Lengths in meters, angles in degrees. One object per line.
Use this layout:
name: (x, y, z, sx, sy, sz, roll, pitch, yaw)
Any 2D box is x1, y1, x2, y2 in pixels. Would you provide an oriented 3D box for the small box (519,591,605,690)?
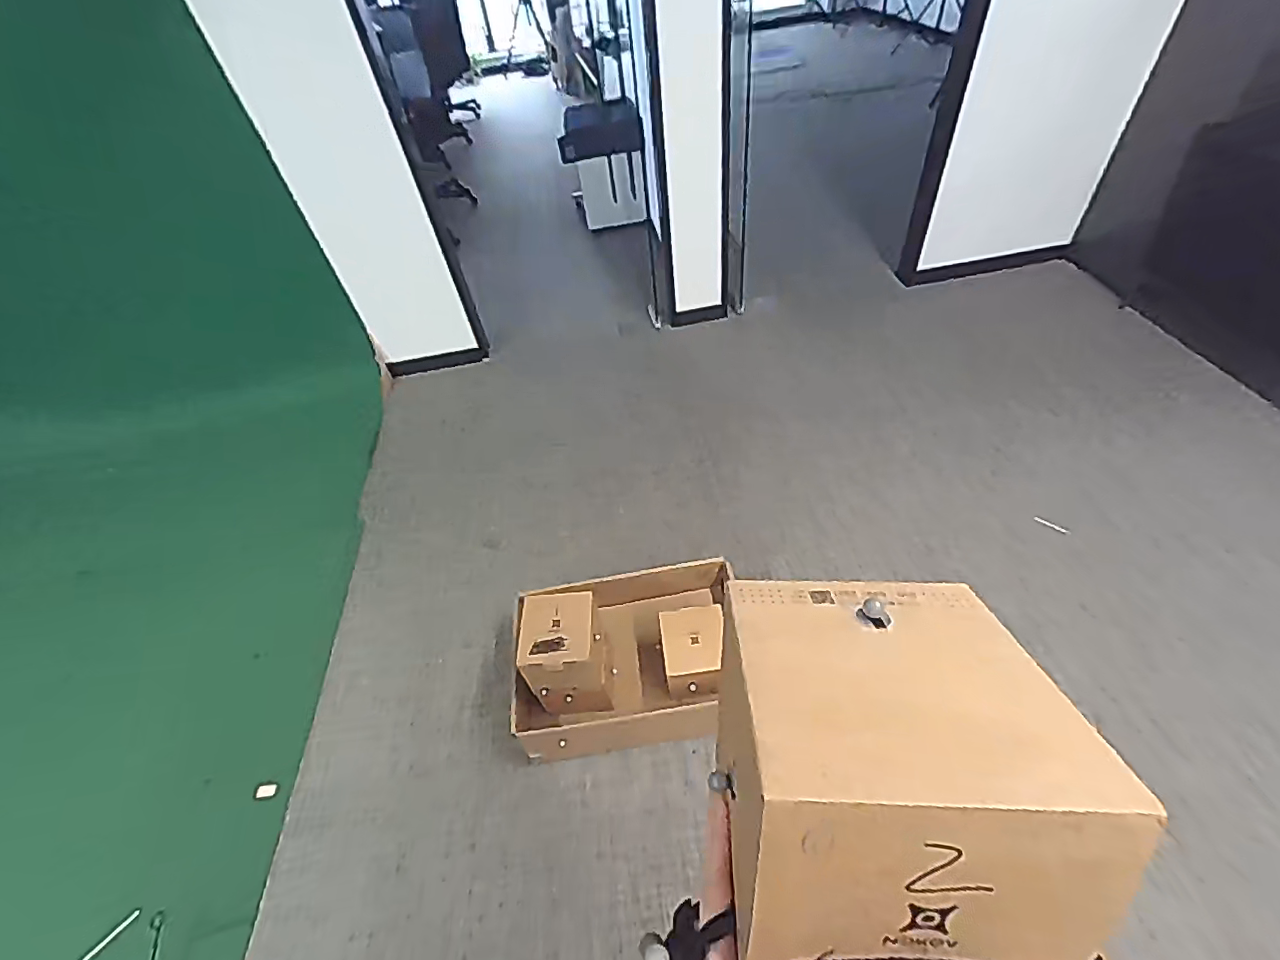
small box: (-0.178, 0.390, 1.293, 0.168, 0.176, 0.179, -5, 46, 3)
